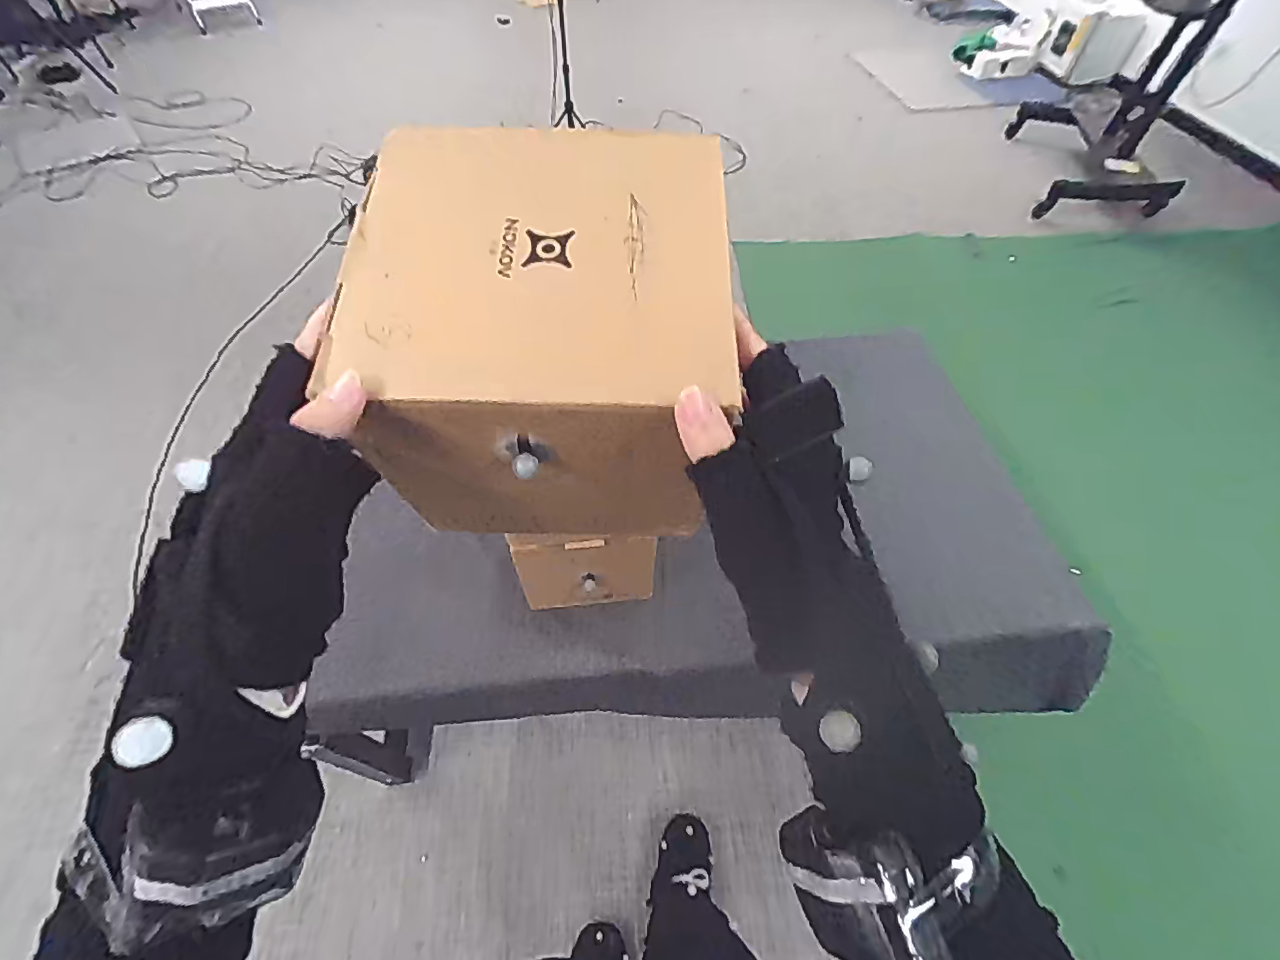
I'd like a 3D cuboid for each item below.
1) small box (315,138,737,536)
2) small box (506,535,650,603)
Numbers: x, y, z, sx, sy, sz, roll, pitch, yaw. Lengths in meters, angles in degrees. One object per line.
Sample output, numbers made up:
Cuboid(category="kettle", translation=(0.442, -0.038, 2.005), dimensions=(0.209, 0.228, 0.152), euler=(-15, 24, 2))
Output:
Cuboid(category="small box", translation=(-0.048, -0.069, 0.325), dimensions=(0.179, 0.176, 0.168), euler=(1, 67, -3))
Cuboid(category="small box", translation=(-0.077, 0.053, 0.714), dimensions=(0.168, 0.176, 0.179), euler=(-5, 55, -5))
